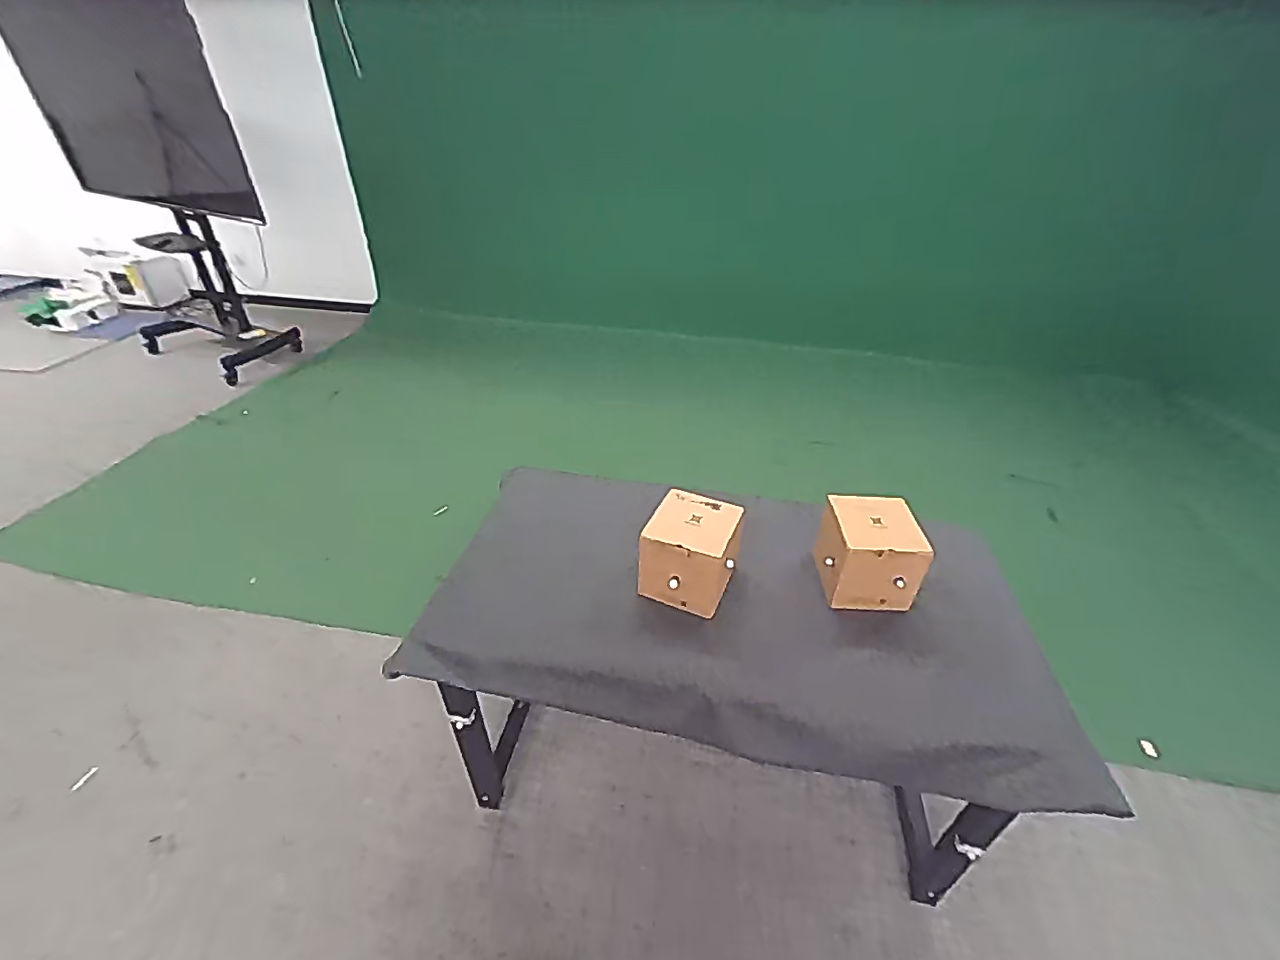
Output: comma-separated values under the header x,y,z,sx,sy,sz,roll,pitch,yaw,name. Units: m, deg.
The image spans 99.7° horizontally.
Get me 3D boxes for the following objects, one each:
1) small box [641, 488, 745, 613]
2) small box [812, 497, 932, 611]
x,y,z,sx,sy,sz,roll,pitch,yaw,name
0.109,0.148,1.135,0.168,0.176,0.179,17,38,18,small box
0.481,0.157,1.147,0.168,0.176,0.179,4,34,0,small box
